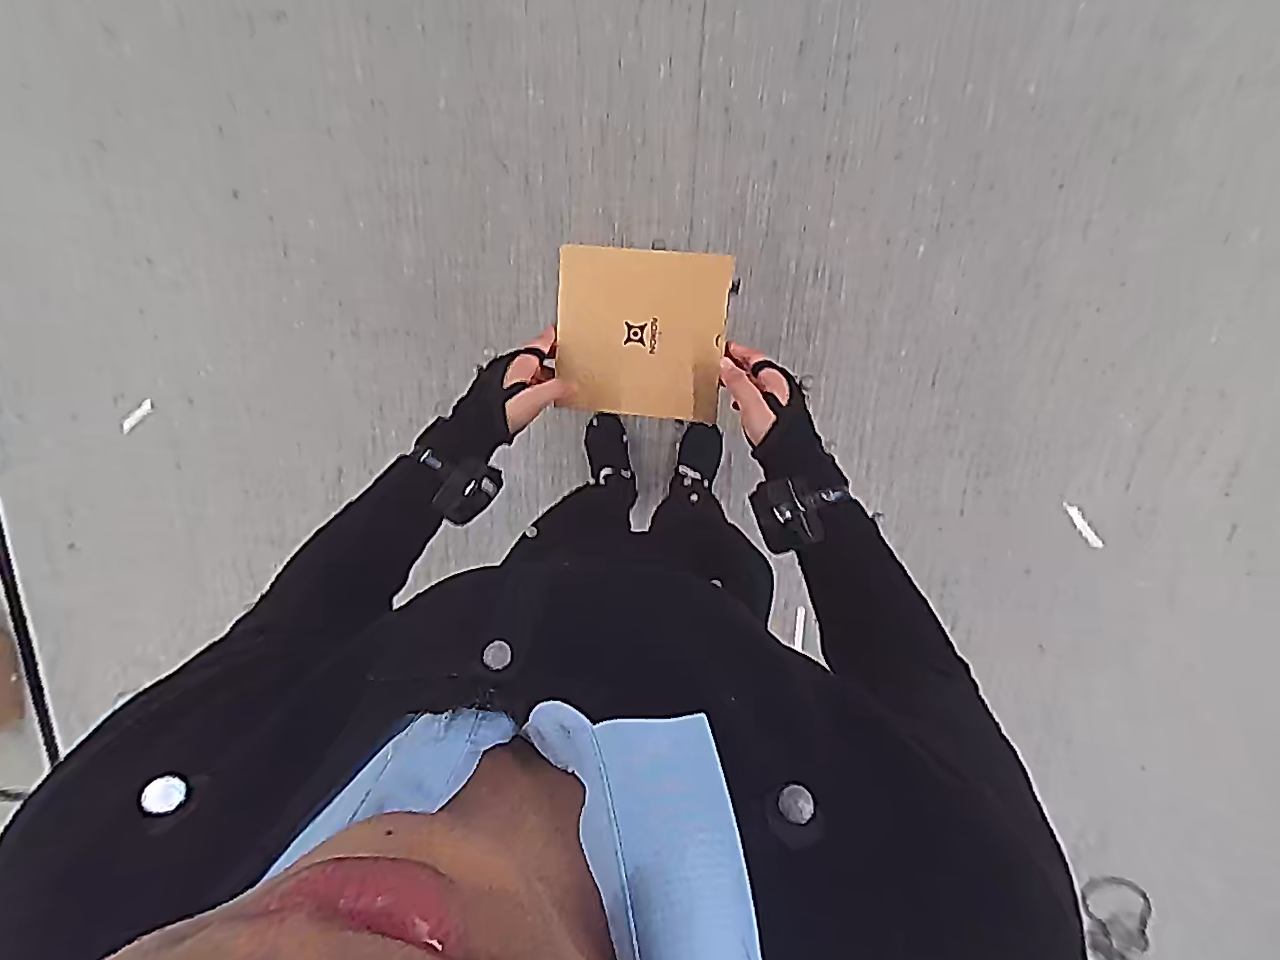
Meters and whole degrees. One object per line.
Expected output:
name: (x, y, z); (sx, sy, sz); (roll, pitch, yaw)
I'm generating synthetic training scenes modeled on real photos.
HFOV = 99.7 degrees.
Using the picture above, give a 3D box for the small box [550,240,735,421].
small box: (0.008, -0.162, 0.612); (0.179, 0.176, 0.168); (5, 103, 5)
